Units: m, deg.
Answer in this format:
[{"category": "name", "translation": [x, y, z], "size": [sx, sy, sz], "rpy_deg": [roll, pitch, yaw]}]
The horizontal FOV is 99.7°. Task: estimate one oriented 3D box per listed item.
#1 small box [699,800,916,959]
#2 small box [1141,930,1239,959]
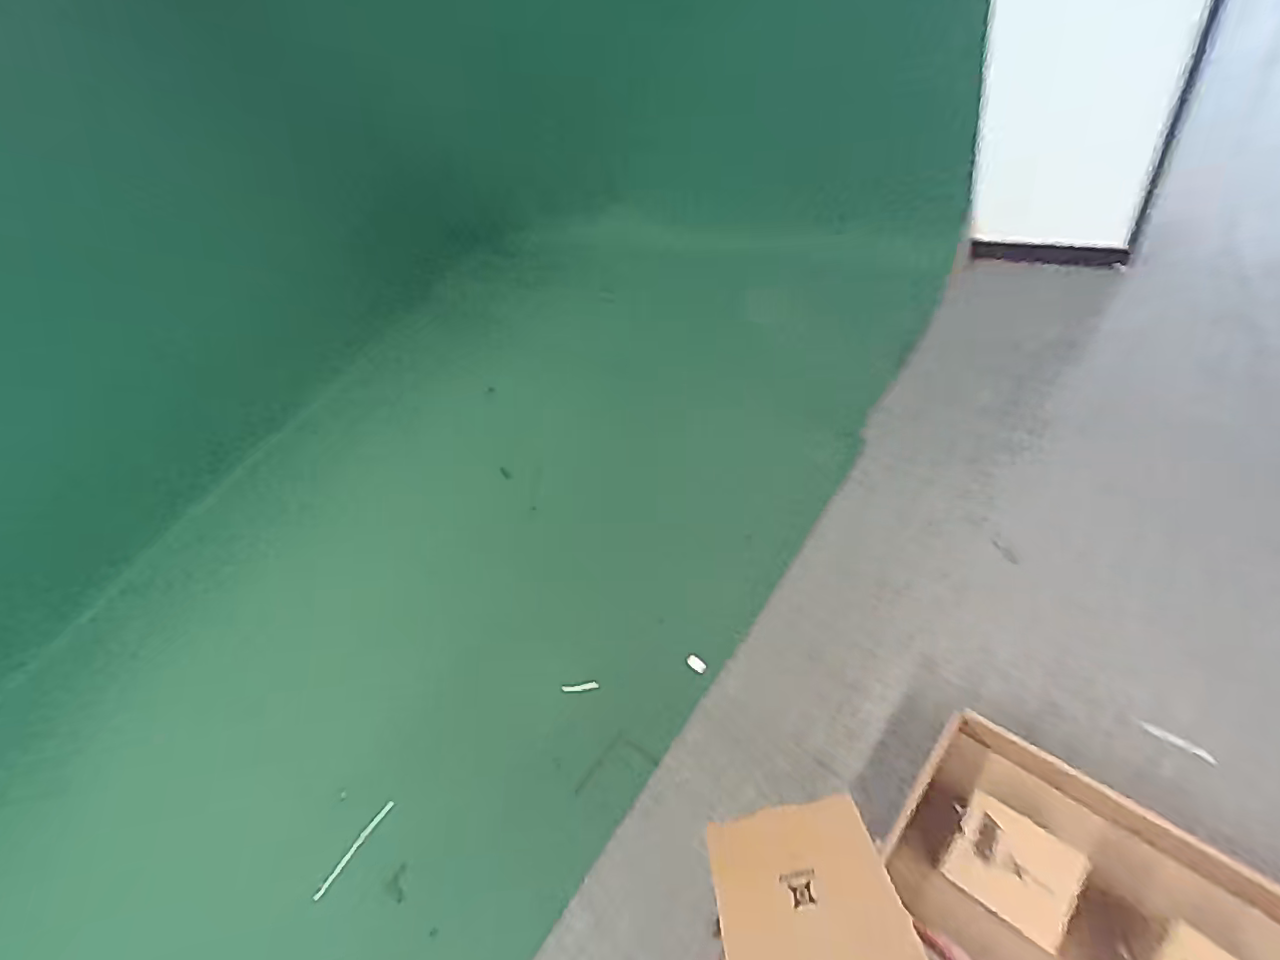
[{"category": "small box", "translation": [0.167, 0.466, 0.528], "size": [0.168, 0.176, 0.179], "rpy_deg": [-15, 16, 2]}, {"category": "small box", "translation": [0.878, 0.820, 0.809], "size": [0.179, 0.176, 0.168], "rpy_deg": [31, 73, 40]}]
